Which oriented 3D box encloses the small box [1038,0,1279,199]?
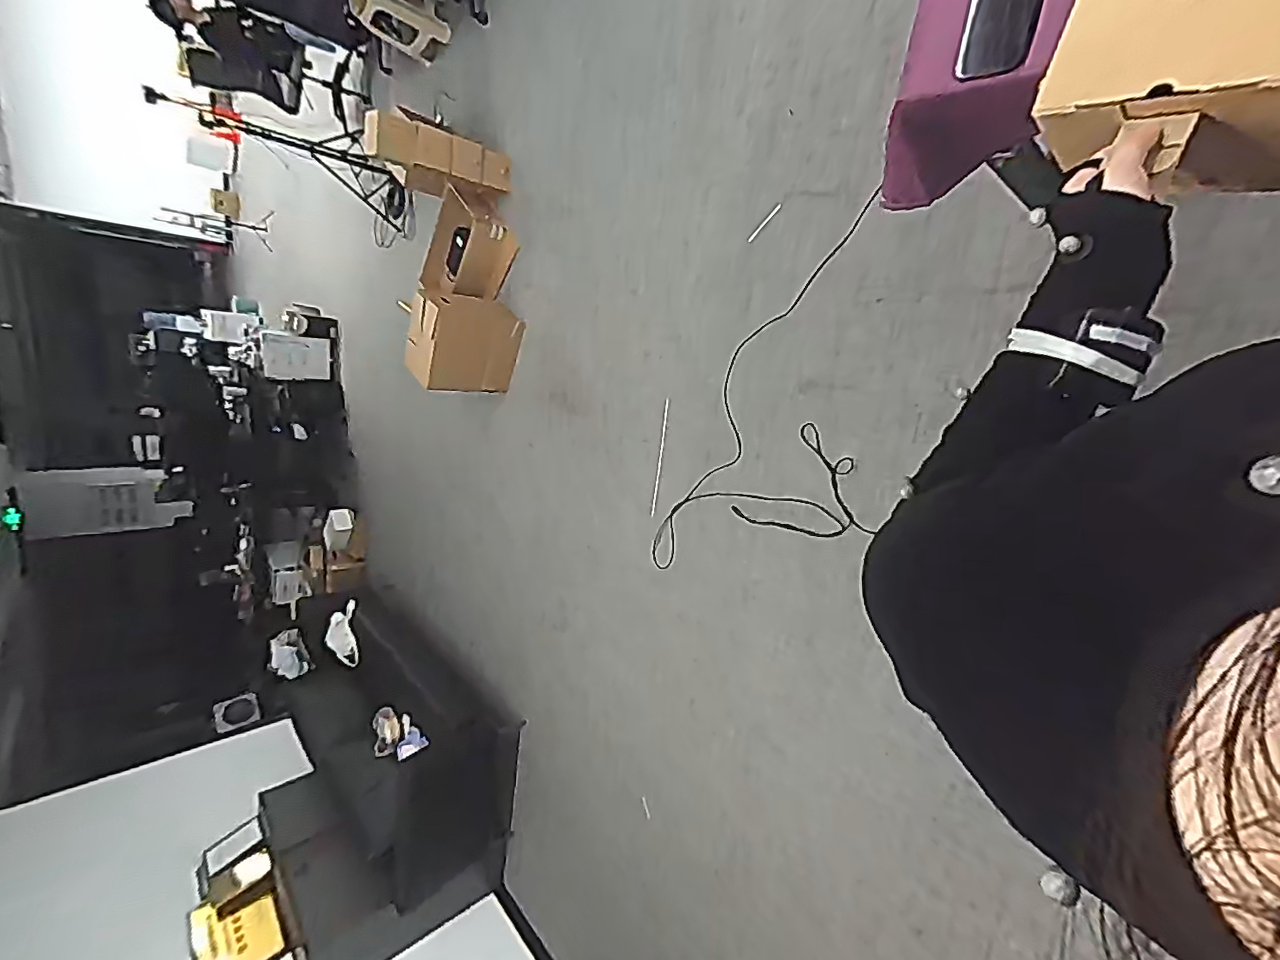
[{"bbox_3d":[0.461,-0.348,0.428,0.168,0.176,0.179,30,109,45],"label":"small box"}]
